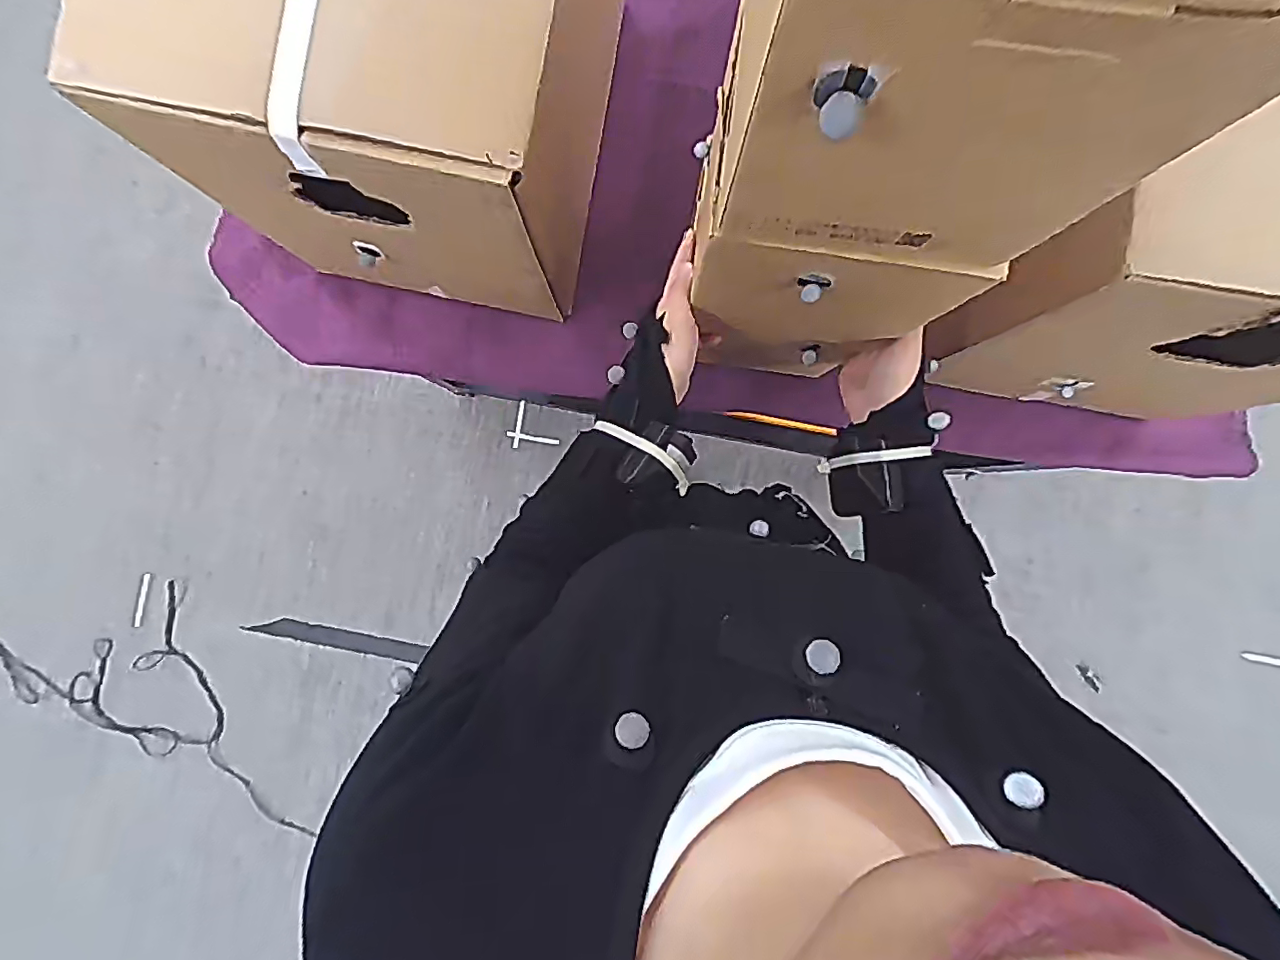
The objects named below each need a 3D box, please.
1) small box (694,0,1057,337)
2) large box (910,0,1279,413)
[{"bbox_3d":[0.139,-0.211,0.385,0.179,0.176,0.168,8,90,-1],"label":"small box"},{"bbox_3d":[0.494,-0.299,0.501,0.320,0.320,0.408,10,88,0],"label":"large box"}]
